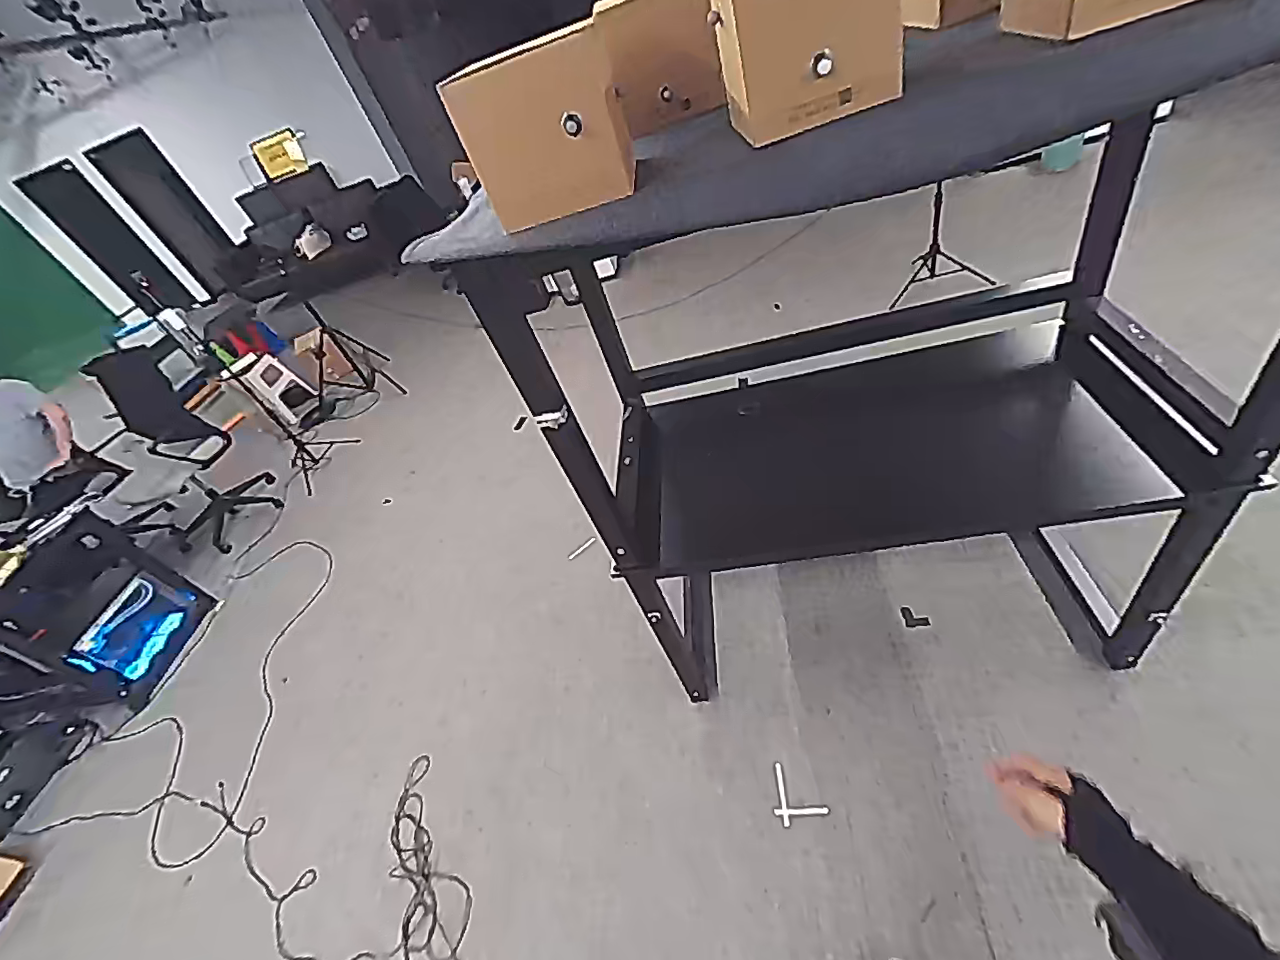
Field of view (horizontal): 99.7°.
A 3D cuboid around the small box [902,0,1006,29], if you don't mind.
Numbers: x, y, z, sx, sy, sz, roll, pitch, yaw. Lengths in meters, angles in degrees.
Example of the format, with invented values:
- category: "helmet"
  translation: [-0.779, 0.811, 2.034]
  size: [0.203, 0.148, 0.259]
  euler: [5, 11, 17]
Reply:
- category: "small box"
  translation: [0.473, -0.784, 0.780]
  size: [0.168, 0.176, 0.179]
  euler: [-17, 42, 7]

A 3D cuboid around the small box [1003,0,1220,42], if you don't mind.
- category: "small box"
  translation: [0.506, -0.584, 0.558]
  size: [0.168, 0.176, 0.179]
  euler: [-11, 42, 14]

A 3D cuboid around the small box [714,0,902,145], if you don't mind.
- category: "small box"
  translation: [0.184, -0.509, 0.619]
  size: [0.168, 0.176, 0.179]
  euler: [-15, 40, 10]

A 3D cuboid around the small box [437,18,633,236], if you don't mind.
- category: "small box"
  translation: [-0.112, -0.433, 0.673]
  size: [0.179, 0.176, 0.168]
  euler: [-11, 42, 12]
